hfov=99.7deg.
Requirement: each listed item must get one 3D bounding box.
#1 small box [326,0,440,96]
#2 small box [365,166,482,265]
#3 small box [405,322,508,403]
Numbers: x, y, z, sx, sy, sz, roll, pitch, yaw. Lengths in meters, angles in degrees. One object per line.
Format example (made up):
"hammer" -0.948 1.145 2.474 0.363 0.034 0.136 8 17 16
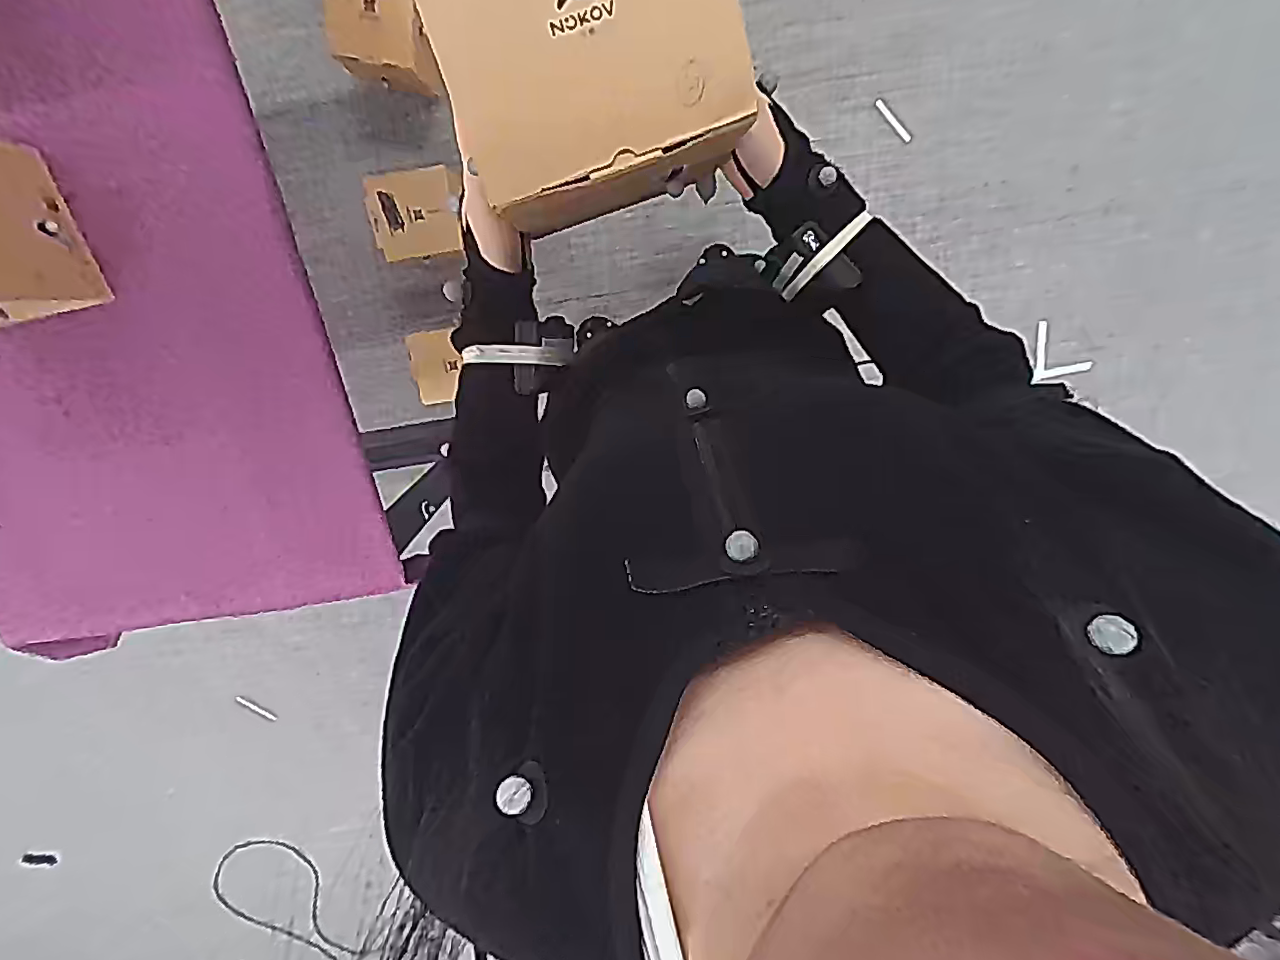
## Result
"small box" -0.515 -0.922 1.101 0.168 0.176 0.179 7 111 -5
"small box" -0.478 -0.588 1.221 0.179 0.176 0.168 -9 110 1
"small box" -0.441 -0.292 1.329 0.179 0.176 0.168 -7 110 2
